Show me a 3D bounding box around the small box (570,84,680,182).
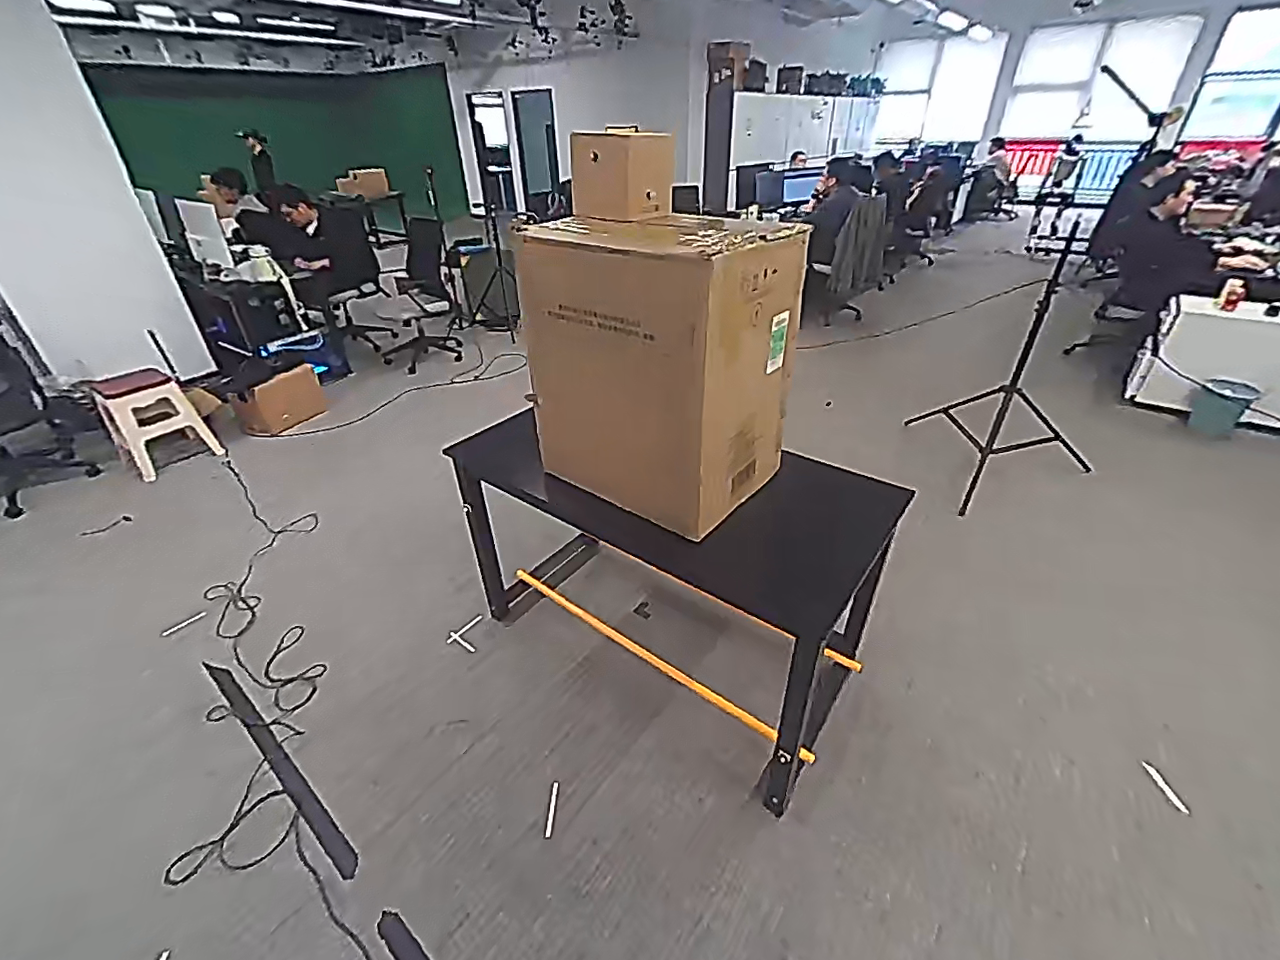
[{"bbox_3d":[-0.034,-0.746,1.172,0.179,0.176,0.168,25,40,31],"label":"small box"}]
